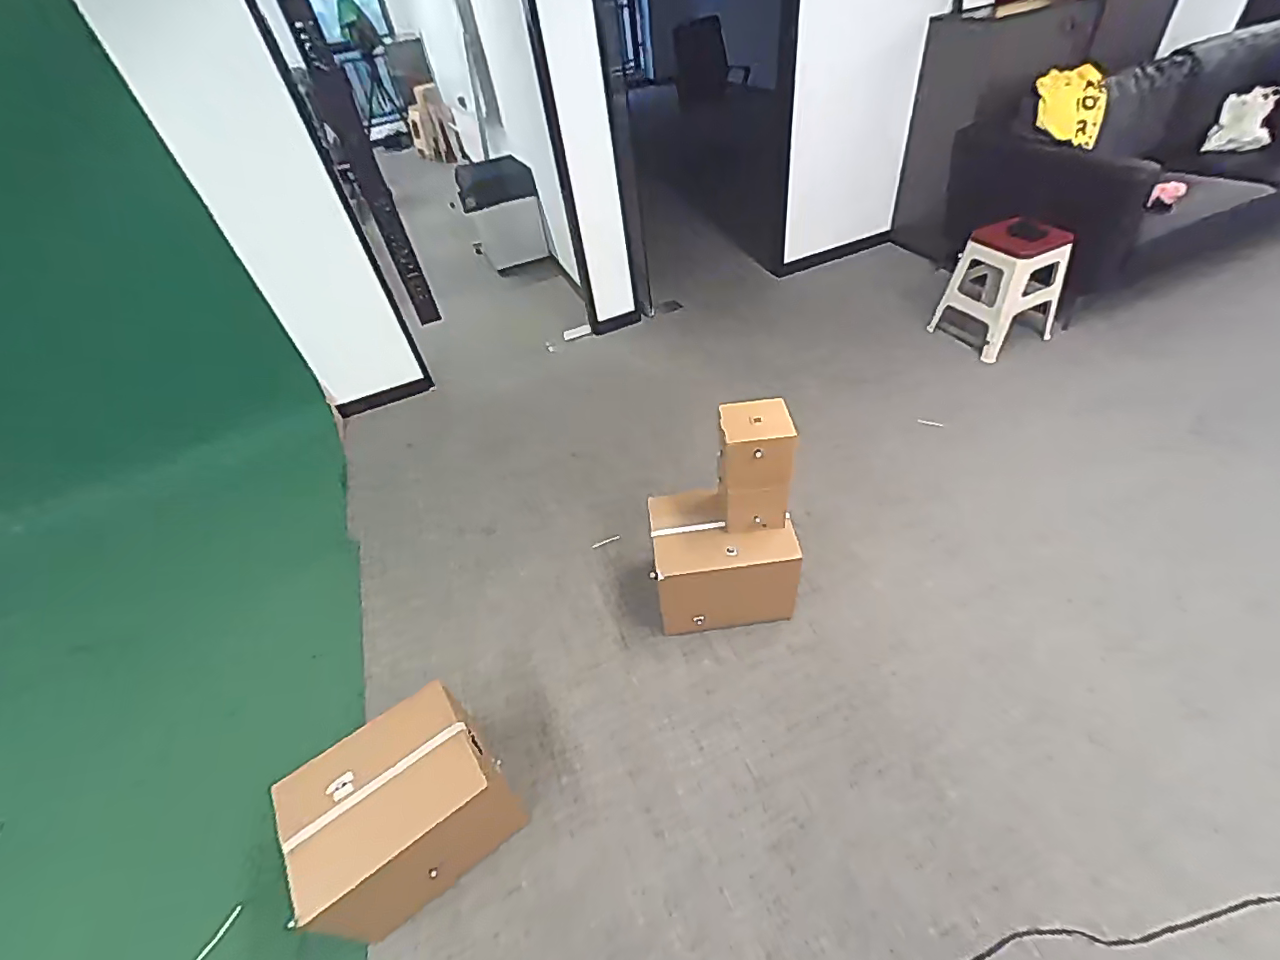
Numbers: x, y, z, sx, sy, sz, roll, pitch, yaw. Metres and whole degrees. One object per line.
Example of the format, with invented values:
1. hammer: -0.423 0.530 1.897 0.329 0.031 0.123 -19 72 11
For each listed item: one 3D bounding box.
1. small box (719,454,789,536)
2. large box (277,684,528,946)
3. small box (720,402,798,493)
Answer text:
1. small box: 0.319 0.035 1.540 0.168 0.176 0.179 -8 42 3
2. large box: -0.541 0.779 1.277 0.408 0.320 0.320 -32 47 -20
3. small box: 0.308 -0.084 1.430 0.179 0.176 0.168 -7 42 4
